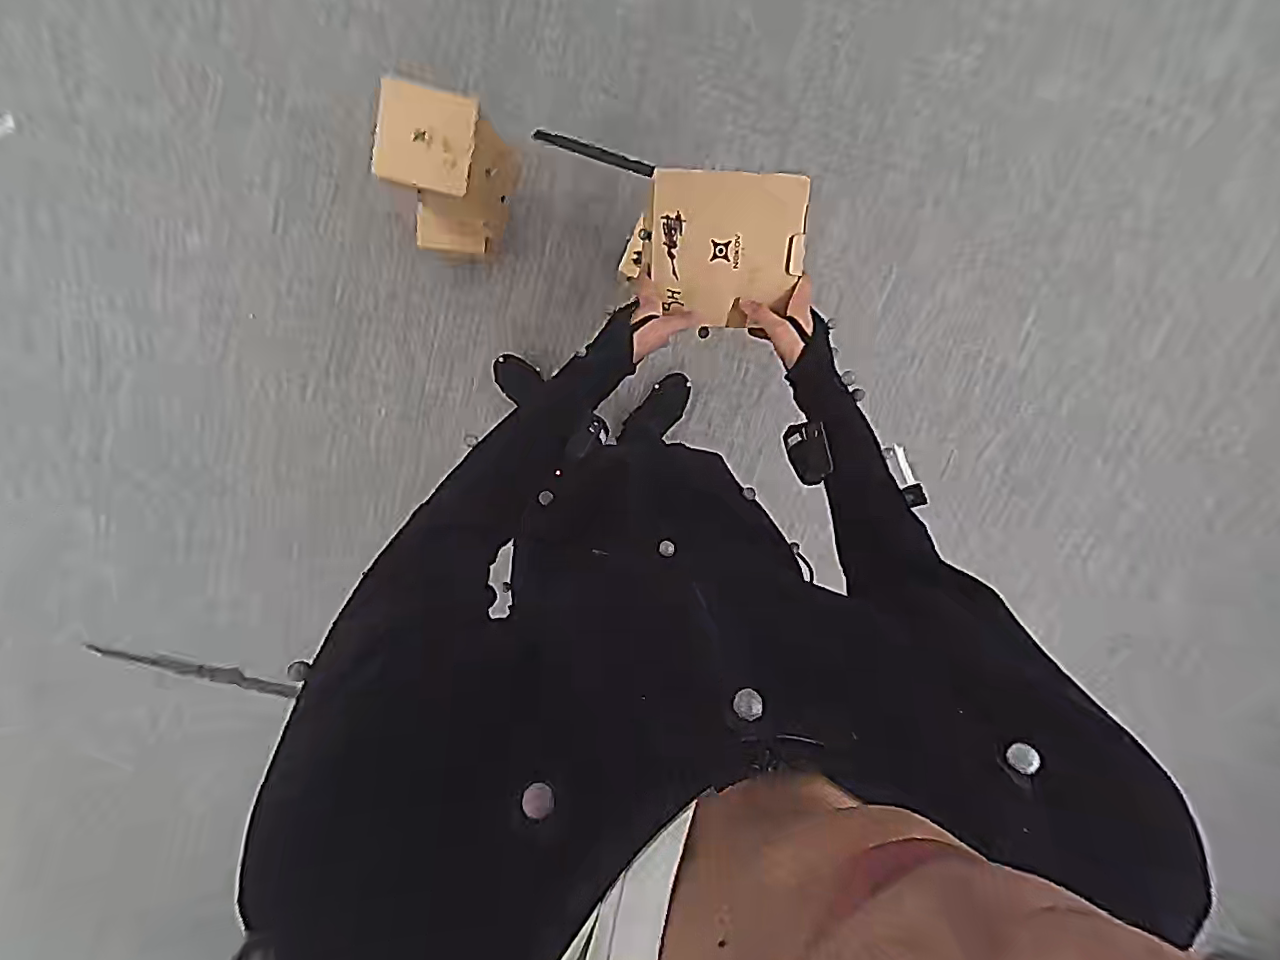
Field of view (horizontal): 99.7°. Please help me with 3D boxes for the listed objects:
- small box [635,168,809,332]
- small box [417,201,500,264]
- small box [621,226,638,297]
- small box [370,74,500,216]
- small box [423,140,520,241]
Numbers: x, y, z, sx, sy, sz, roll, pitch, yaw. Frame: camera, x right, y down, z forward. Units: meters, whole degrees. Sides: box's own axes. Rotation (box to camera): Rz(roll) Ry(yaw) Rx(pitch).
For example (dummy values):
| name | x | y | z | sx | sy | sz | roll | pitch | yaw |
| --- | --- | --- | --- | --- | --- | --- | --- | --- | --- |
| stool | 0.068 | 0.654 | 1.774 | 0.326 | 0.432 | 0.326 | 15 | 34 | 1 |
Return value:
| name | x | y | z | sx | sy | sz | roll | pitch | yaw |
| --- | --- | --- | --- | --- | --- | --- | --- | --- | --- |
| small box | 0.089 | -0.276 | 0.678 | 0.179 | 0.176 | 0.168 | 0 | 106 | -4 |
| small box | -0.453 | -0.663 | 1.373 | 0.168 | 0.176 | 0.179 | 6 | 103 | -3 |
| small box | 0.054 | -0.557 | 1.420 | 0.179 | 0.176 | 0.168 | 17 | 102 | -7 |
| small box | -0.388 | -0.632 | 1.046 | 0.179 | 0.176 | 0.168 | 13 | 102 | -5 |
| small box | -0.379 | -0.665 | 1.207 | 0.168 | 0.176 | 0.179 | 20 | 102 | -6 |
